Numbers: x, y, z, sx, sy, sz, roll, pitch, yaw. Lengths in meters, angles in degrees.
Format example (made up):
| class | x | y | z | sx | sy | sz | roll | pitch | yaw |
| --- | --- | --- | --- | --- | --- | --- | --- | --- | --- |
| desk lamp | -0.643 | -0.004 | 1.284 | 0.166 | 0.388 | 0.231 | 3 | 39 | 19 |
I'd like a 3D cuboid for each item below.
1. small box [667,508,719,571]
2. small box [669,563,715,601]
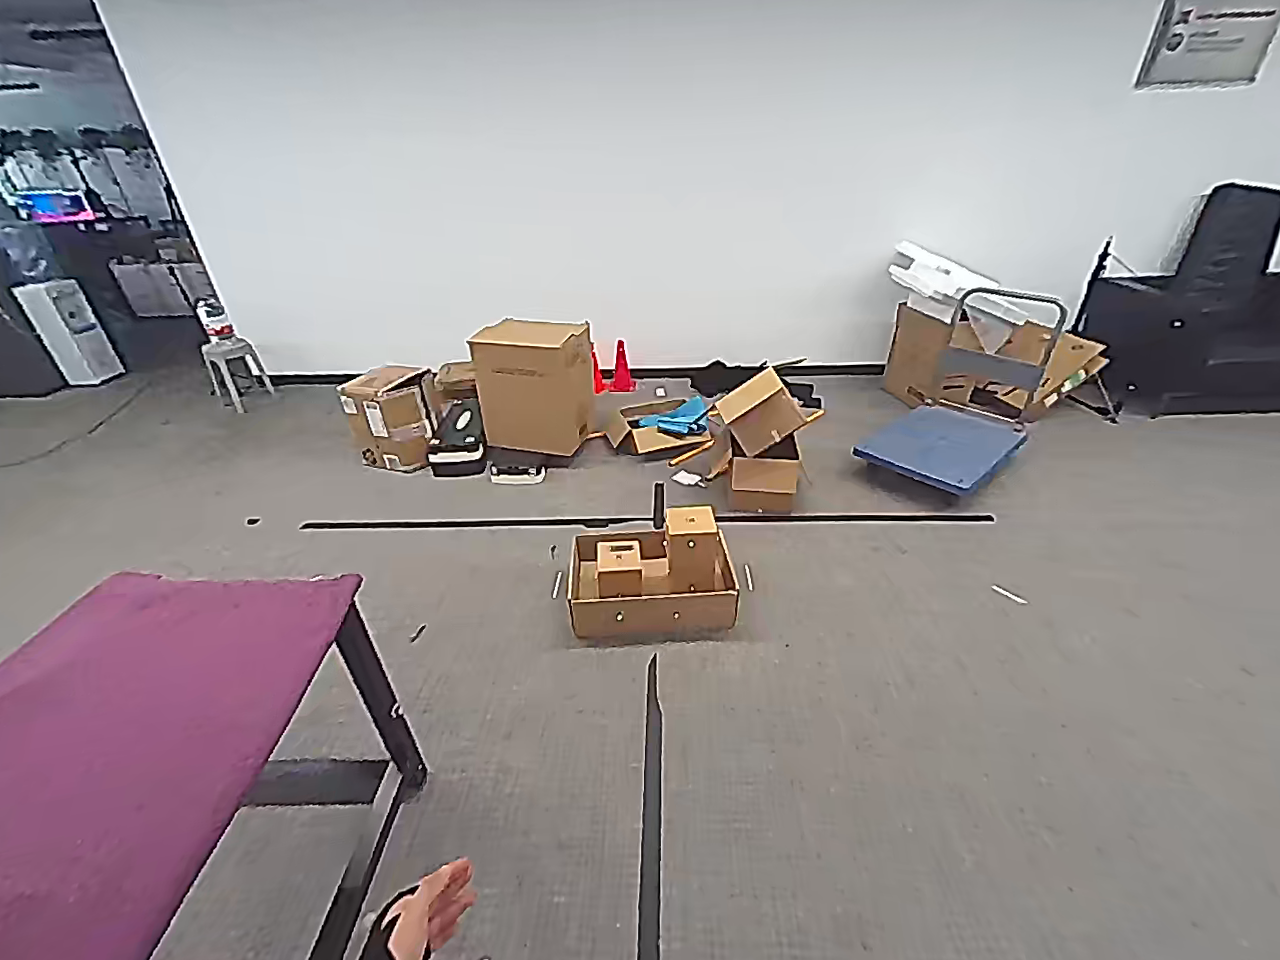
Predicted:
| class | x | y | z | sx | sy | sz | roll | pitch | yaw |
| --- | --- | --- | --- | --- | --- | --- | --- | --- | --- |
| small box | 0.192 | 0.222 | 2.022 | 0.179 | 0.176 | 0.168 | -4 | 31 | -1 |
| small box | 0.201 | 0.360 | 2.108 | 0.168 | 0.176 | 0.179 | -2 | 30 | -1 |
